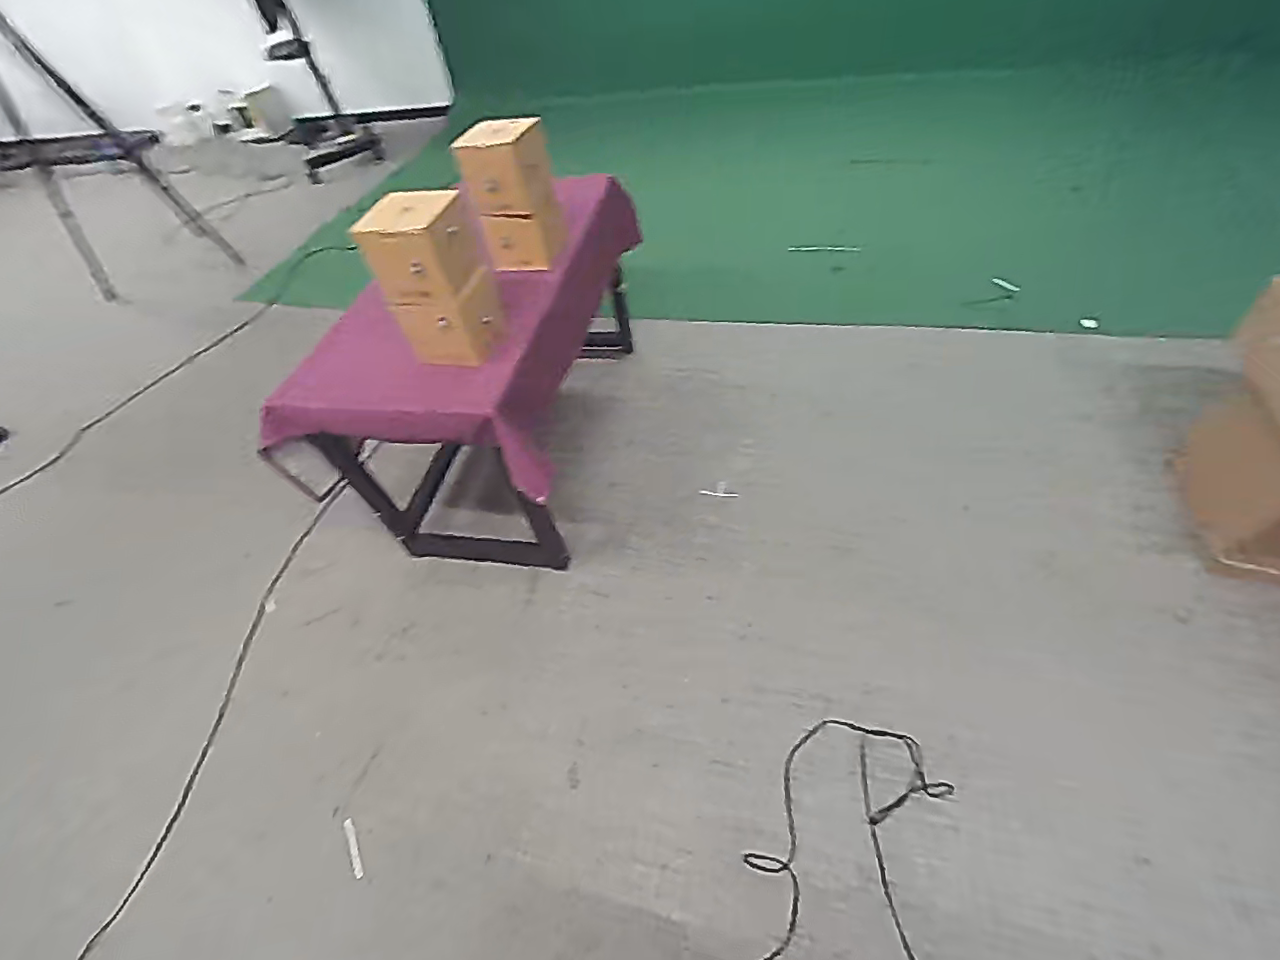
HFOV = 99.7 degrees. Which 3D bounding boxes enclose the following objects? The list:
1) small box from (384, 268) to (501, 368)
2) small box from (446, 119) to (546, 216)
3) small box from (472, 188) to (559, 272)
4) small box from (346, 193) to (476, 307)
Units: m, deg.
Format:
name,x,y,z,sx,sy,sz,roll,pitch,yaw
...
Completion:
name,x,y,z,sx,sy,sz,roll,pitch,yaw
small box,-0.457,-0.383,1.285,0.179,0.176,0.168,5,51,15
small box,-0.363,-0.808,1.407,0.168,0.176,0.179,8,53,16
small box,-0.343,-0.709,1.537,0.168,0.176,0.179,4,51,14
small box,-0.479,-0.490,1.164,0.168,0.176,0.179,5,51,13
